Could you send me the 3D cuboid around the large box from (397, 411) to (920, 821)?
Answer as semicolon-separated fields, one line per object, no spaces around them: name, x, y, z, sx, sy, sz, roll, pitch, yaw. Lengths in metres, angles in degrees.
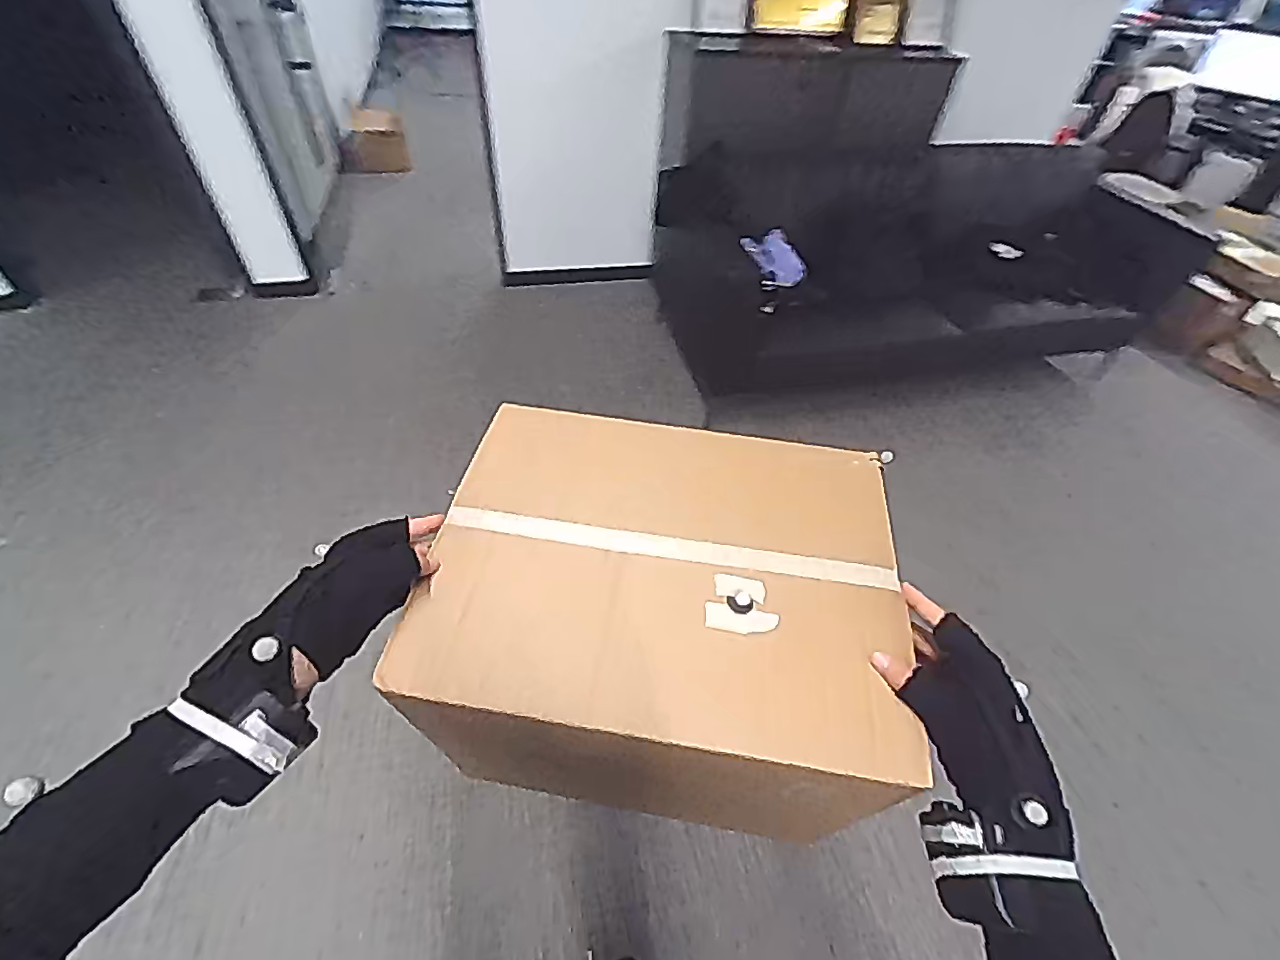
large box;0.020;0.157;0.609;0.408;0.320;0.320;8;51;3
